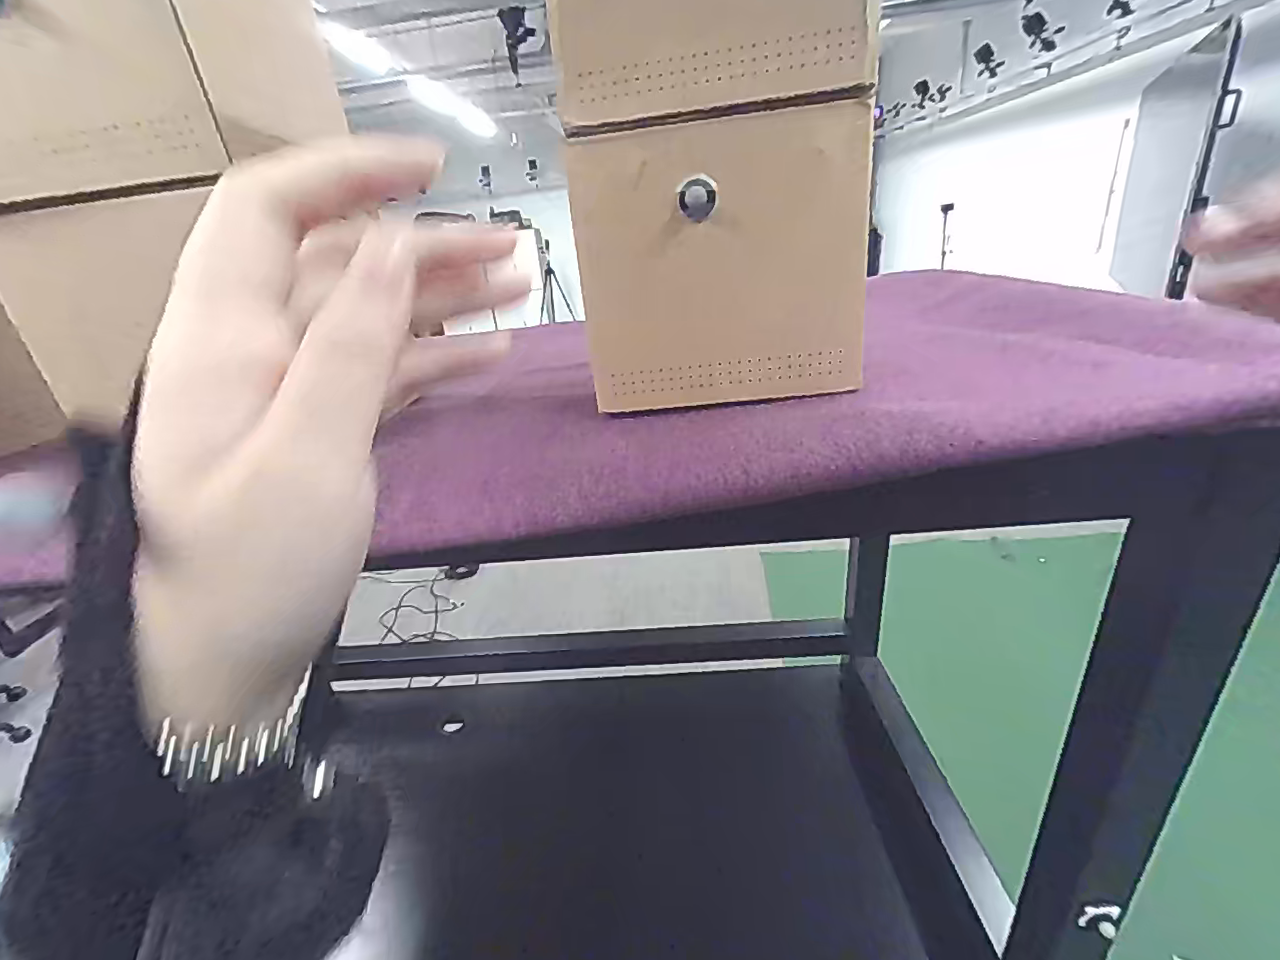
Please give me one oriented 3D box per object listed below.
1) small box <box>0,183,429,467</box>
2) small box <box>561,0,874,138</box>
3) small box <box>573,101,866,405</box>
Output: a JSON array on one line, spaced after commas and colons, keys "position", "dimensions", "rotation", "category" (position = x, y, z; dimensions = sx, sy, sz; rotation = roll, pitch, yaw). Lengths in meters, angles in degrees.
[{"position": [-0.289, -0.119, 0.418], "dimensions": [0.179, 0.176, 0.168], "rotation": [-6, 23, 3], "category": "small box"}, {"position": [0.044, -0.311, 0.356], "dimensions": [0.179, 0.176, 0.168], "rotation": [-4, 21, 6], "category": "small box"}, {"position": [0.058, -0.158, 0.415], "dimensions": [0.179, 0.176, 0.168], "rotation": [-3, 21, 5], "category": "small box"}]
